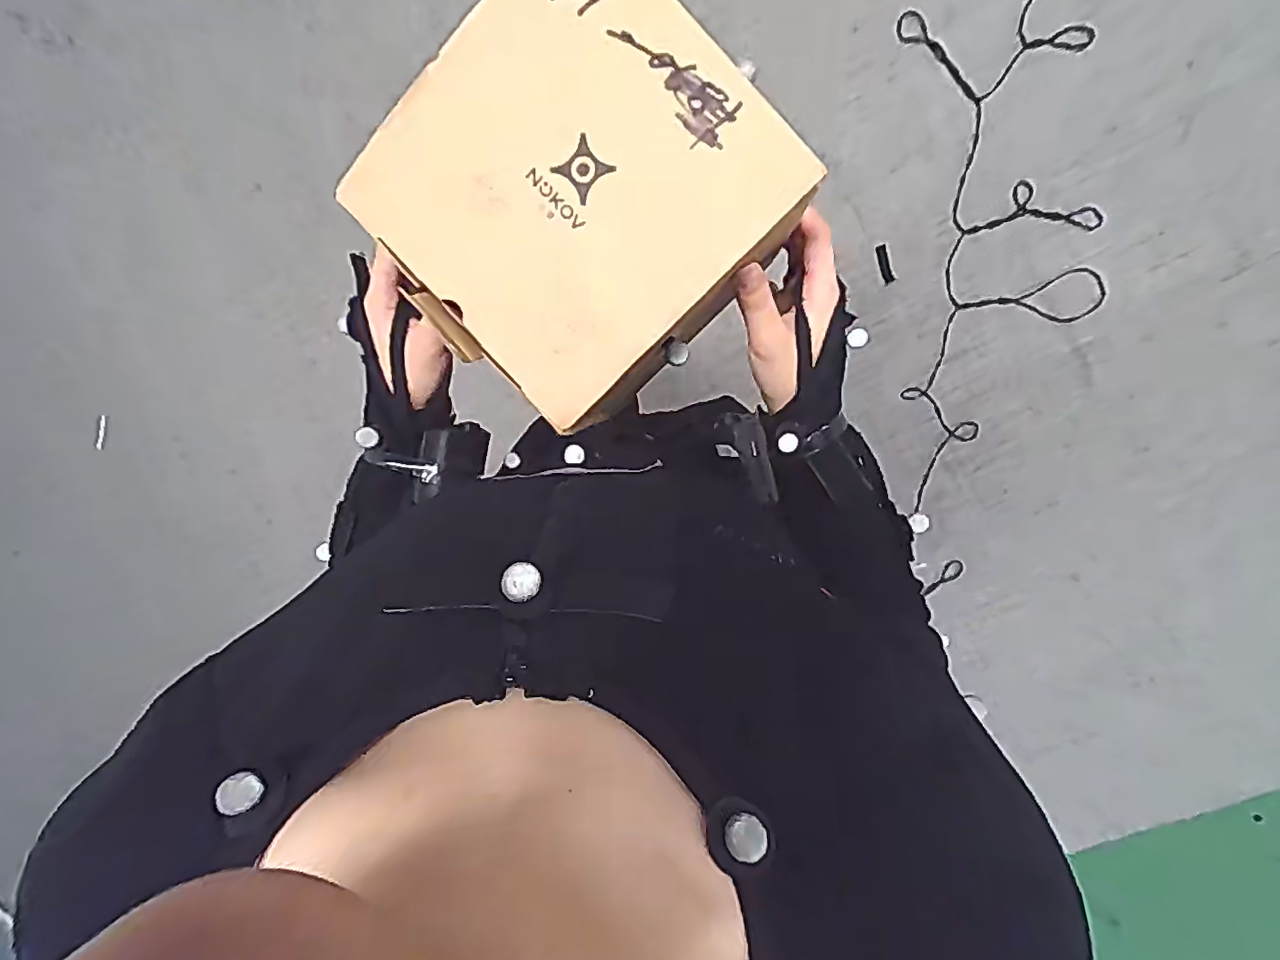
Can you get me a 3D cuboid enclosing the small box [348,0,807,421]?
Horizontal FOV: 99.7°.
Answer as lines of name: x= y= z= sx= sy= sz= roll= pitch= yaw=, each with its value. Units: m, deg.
small box: x=-0.026 y=-0.157 z=0.342 sx=0.179 sy=0.176 sz=0.168 roll=-43 pitch=93 yaw=11
